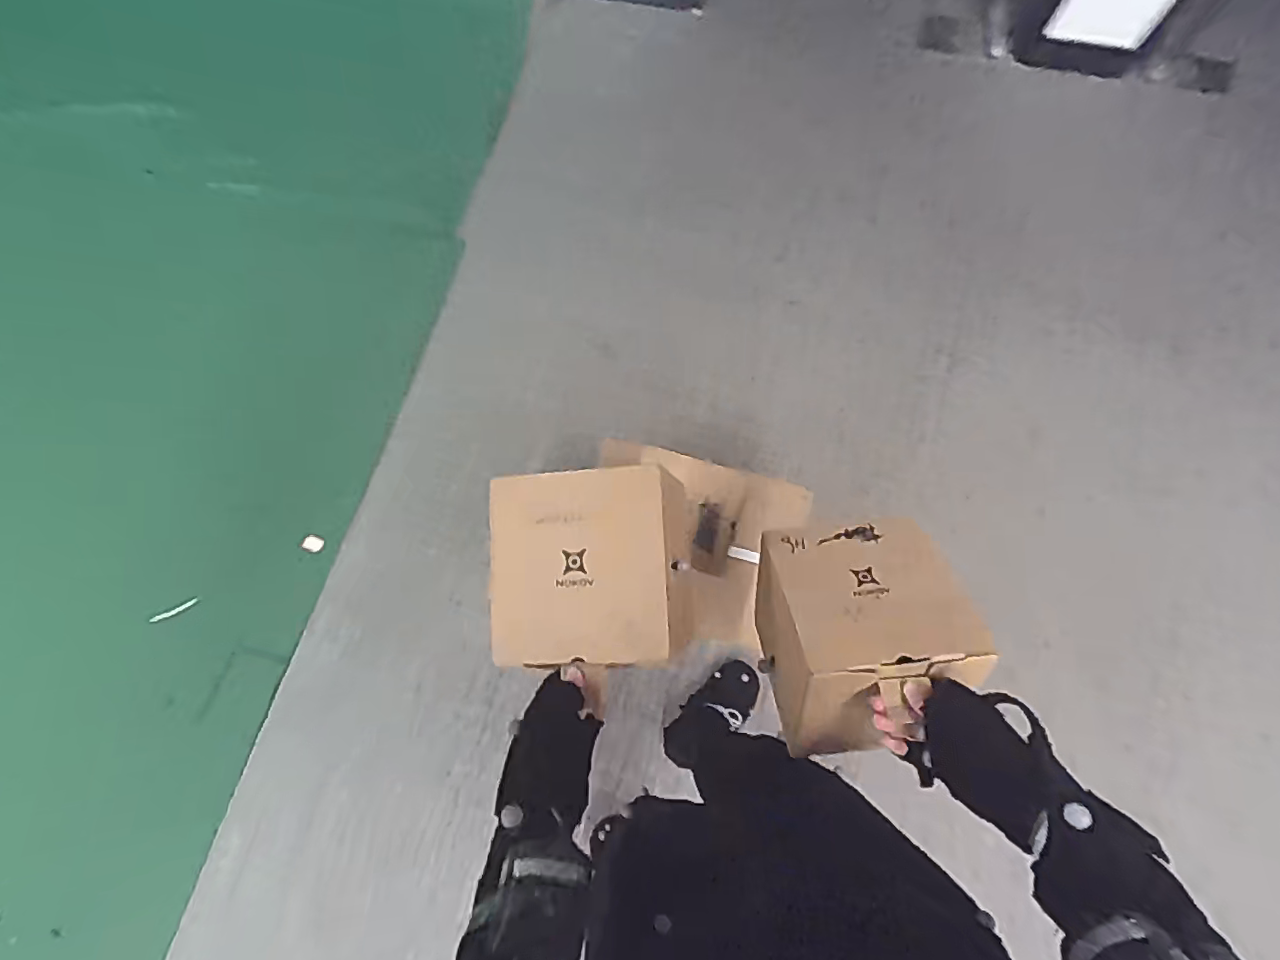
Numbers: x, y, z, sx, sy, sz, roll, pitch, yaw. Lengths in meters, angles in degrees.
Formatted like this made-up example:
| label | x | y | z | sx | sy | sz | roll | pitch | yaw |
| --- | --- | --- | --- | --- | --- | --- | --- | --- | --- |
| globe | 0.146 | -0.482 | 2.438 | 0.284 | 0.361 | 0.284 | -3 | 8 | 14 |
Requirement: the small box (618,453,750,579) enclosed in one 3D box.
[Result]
| label | x | y | z | sx | sy | sz | roll | pitch | yaw |
| --- | --- | --- | --- | --- | --- | --- | --- | --- | --- |
| small box | 0.076 | 0.063 | 0.924 | 0.179 | 0.176 | 0.168 | 14 | 84 | 7 |

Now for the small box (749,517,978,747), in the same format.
| label | x | y | z | sx | sy | sz | roll | pitch | yaw |
| --- | --- | --- | --- | --- | --- | --- | --- | --- | --- |
| small box | 0.218 | 0.168 | 0.584 | 0.168 | 0.176 | 0.179 | -8 | 40 | 0 |
